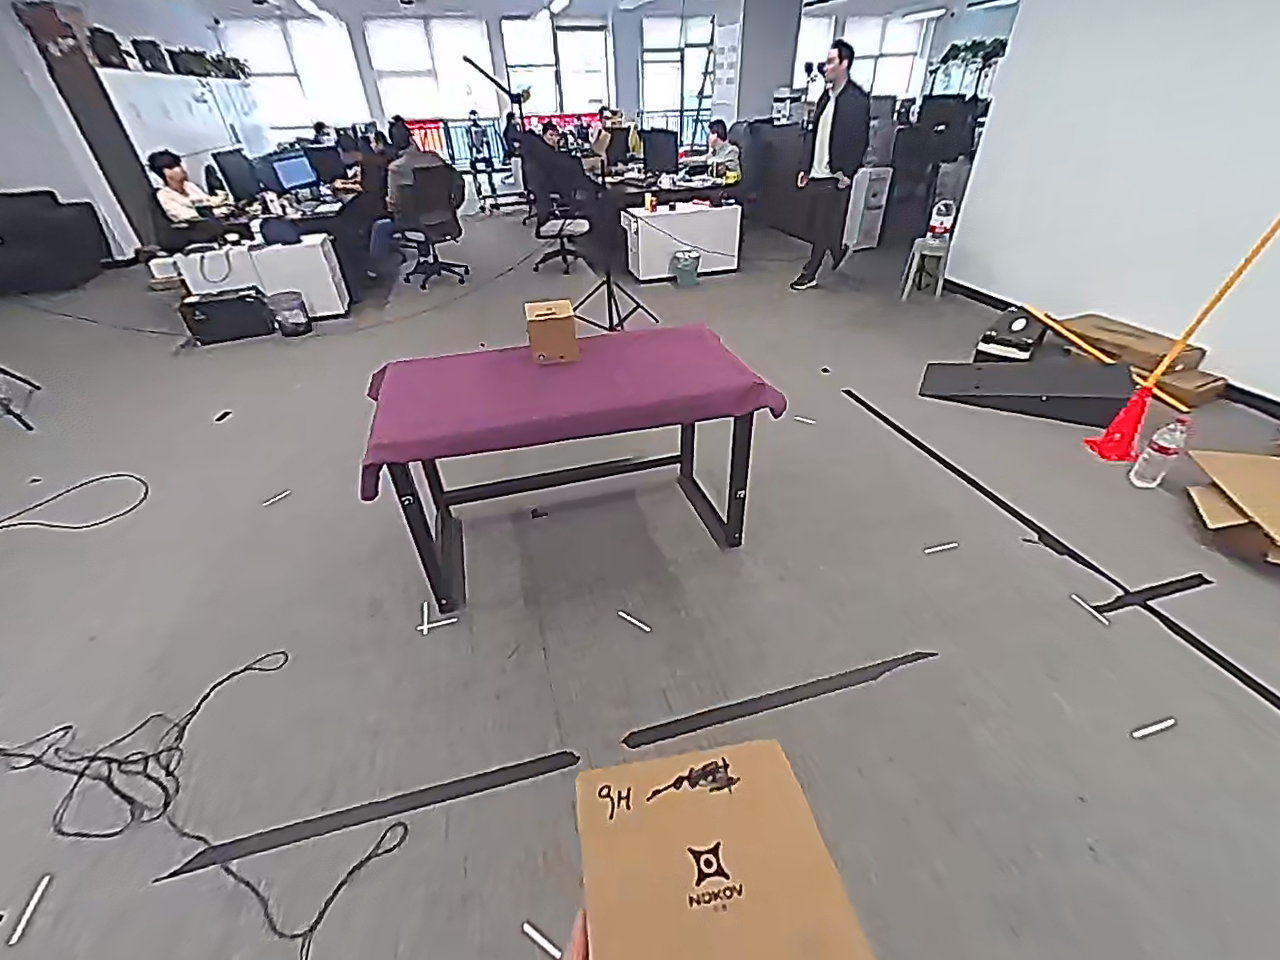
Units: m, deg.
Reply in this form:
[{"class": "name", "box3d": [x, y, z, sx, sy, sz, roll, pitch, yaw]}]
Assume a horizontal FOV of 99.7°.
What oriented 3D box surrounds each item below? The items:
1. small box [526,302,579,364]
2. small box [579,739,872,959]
[{"class": "small box", "box3d": [-0.320, -0.532, 1.968, 0.168, 0.176, 0.179, -8, 37, -9]}, {"class": "small box", "box3d": [0.049, 0.329, 0.395, 0.168, 0.176, 0.179, -6, 32, -8]}]
